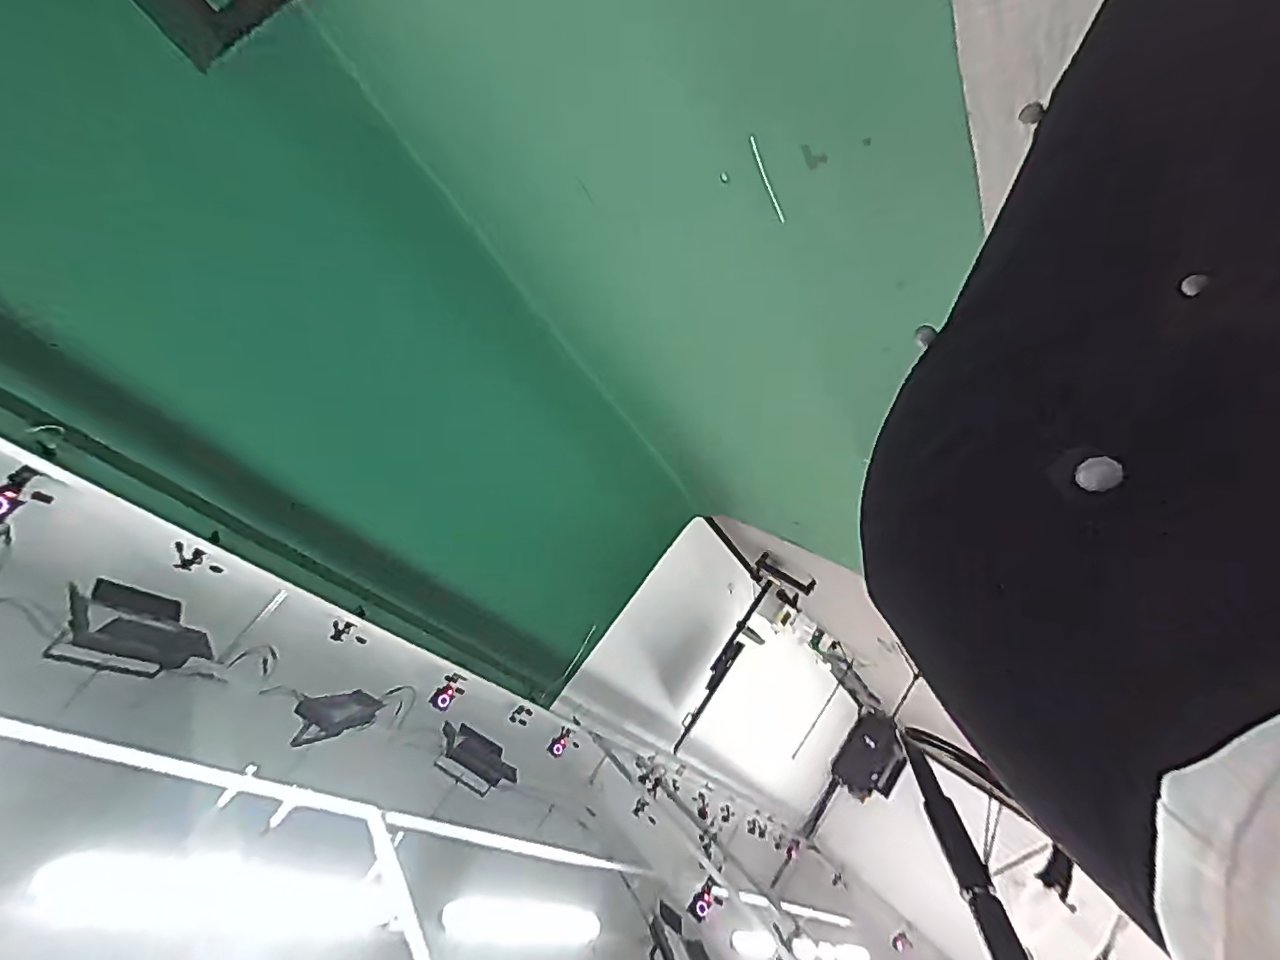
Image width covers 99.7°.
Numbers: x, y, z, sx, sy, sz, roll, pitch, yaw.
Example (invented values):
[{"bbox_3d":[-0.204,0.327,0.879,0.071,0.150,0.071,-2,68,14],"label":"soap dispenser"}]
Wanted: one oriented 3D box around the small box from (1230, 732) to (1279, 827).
[{"bbox_3d":[1.541,0.719,1.266,0.168,0.176,0.179,45,165,-34],"label":"small box"}]
